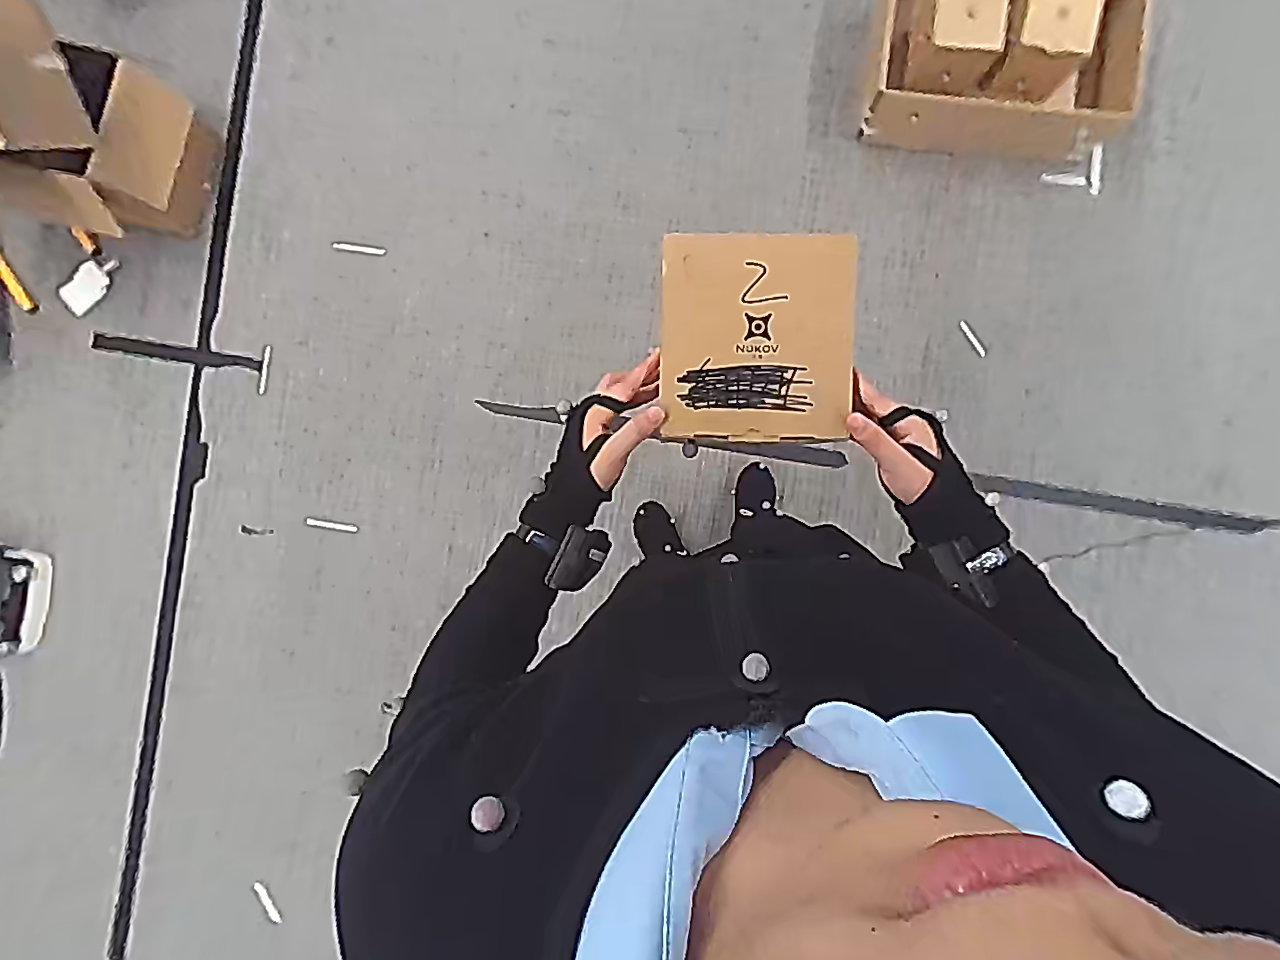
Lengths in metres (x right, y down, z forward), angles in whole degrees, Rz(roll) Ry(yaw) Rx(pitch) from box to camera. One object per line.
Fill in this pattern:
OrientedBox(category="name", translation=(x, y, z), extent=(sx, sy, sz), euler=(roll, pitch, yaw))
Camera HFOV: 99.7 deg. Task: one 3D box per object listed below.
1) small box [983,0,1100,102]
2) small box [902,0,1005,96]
OrientedBox(category="small box", translation=(1.005, -1.110, 1.365), extent=(0.168, 0.176, 0.179), euler=(12, 90, 3))
OrientedBox(category="small box", translation=(0.787, -1.118, 1.371), extent=(0.168, 0.176, 0.179), euler=(5, 89, 1))
